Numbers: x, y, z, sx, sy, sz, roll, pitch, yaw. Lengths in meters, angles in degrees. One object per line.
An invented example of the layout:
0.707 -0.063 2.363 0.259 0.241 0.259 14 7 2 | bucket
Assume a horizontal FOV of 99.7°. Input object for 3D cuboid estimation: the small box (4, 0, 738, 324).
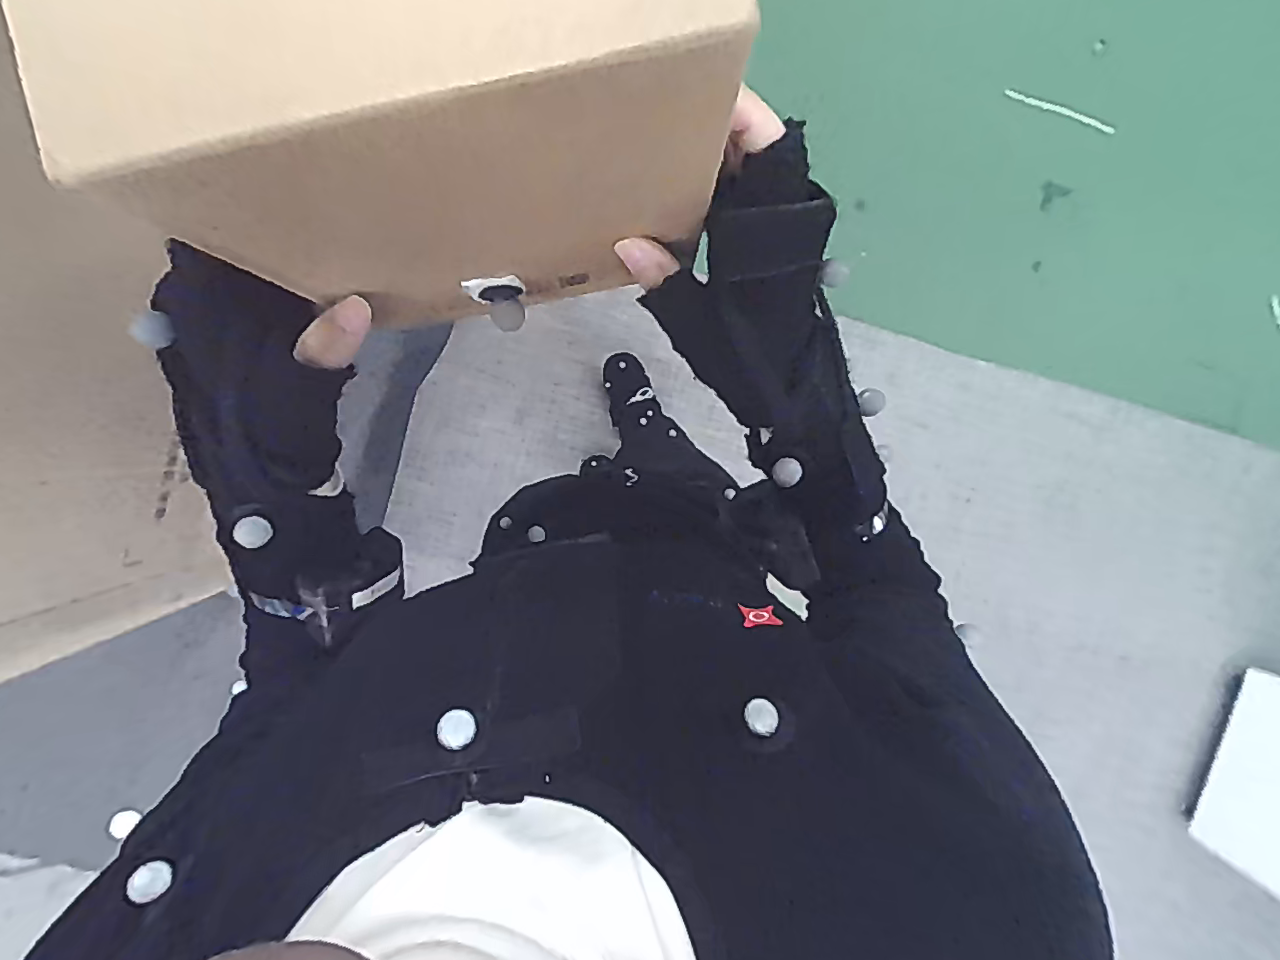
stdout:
-0.071 -0.174 0.200 0.168 0.176 0.179 -11 94 2 | small box
